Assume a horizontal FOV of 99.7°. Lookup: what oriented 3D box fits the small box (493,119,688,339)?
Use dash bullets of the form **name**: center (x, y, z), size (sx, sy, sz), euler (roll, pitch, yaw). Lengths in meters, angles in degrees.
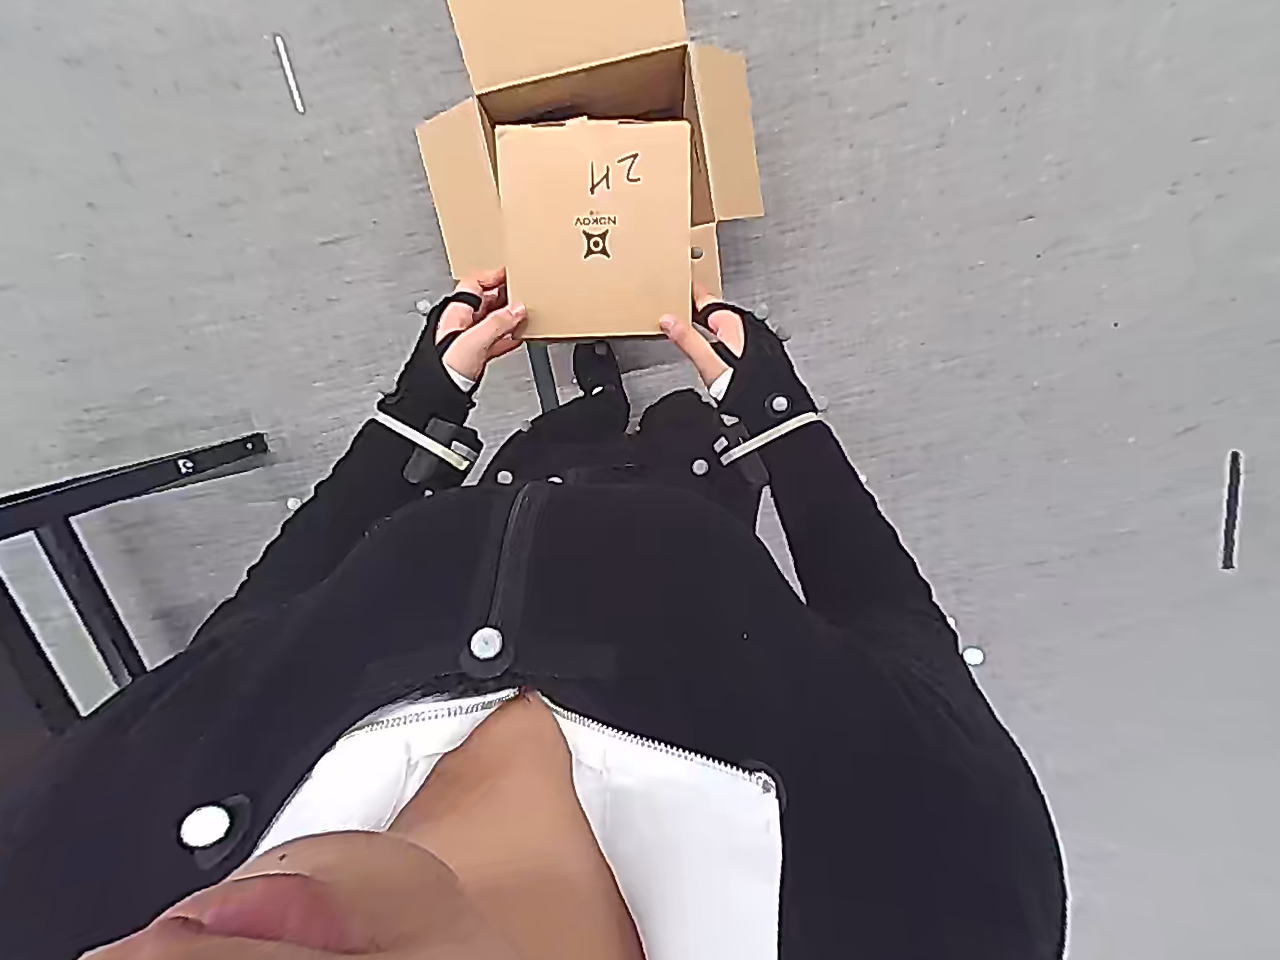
- **small box**: center (-0.041, -0.233, 0.546), size (0.168, 0.176, 0.179), euler (-1, 103, -1)
